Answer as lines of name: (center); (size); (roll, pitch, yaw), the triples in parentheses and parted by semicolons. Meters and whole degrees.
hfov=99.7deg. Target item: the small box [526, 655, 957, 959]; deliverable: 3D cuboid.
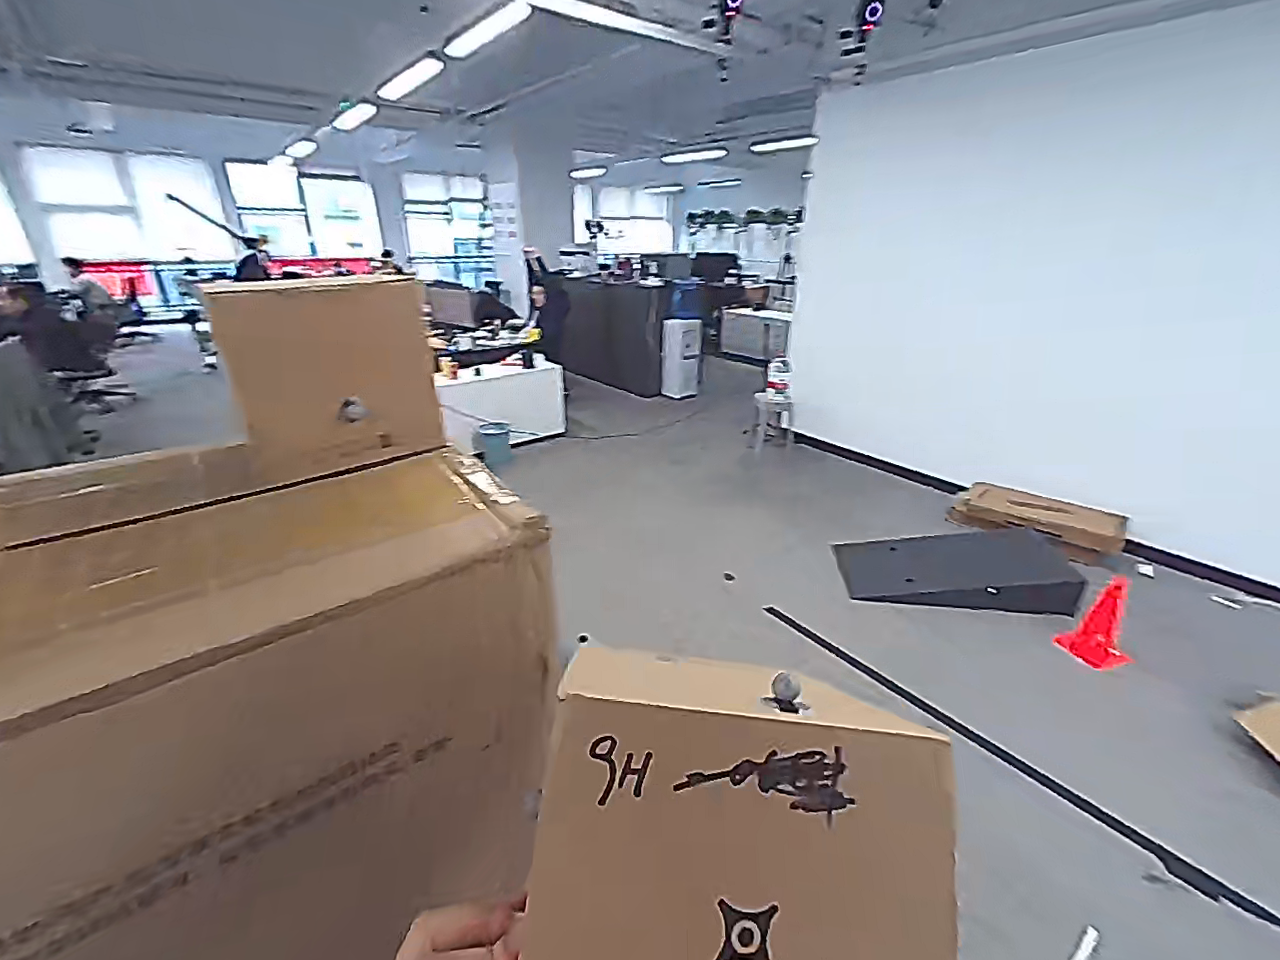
small box: (0.035, 0.201, 0.285); (0.168, 0.179, 0.176); (8, -12, -2)

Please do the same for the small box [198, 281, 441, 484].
small box: (-0.324, -0.110, 0.556); (0.168, 0.176, 0.179); (-20, 29, -35)
